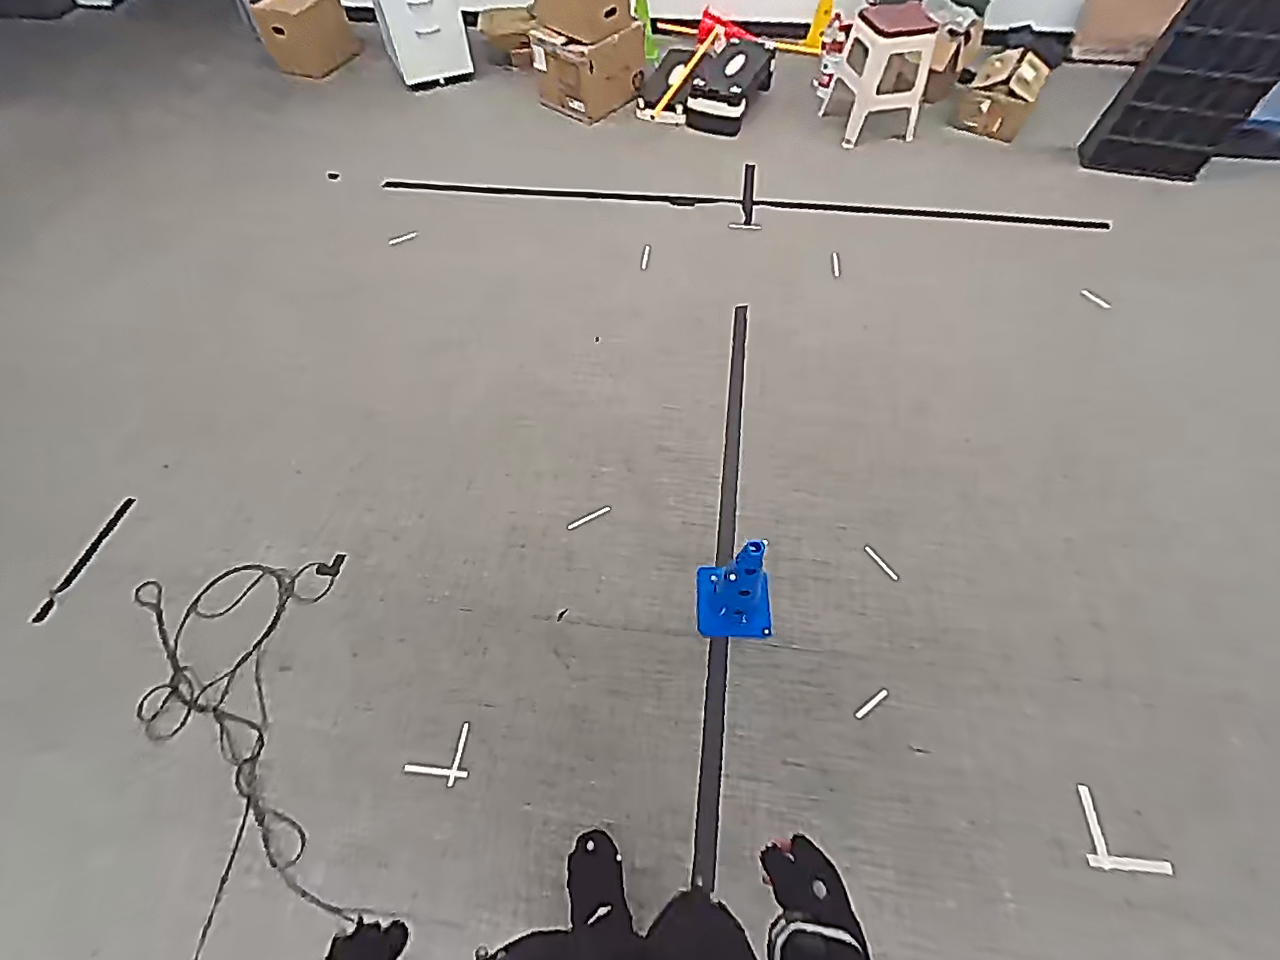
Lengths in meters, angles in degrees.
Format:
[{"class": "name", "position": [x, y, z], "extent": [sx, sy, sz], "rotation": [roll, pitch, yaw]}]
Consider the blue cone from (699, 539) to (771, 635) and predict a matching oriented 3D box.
[{"class": "blue cone", "position": [0.259, 0.245, 1.355], "extent": [0.192, 0.380, 0.193], "rotation": [4, 58, 2]}]
